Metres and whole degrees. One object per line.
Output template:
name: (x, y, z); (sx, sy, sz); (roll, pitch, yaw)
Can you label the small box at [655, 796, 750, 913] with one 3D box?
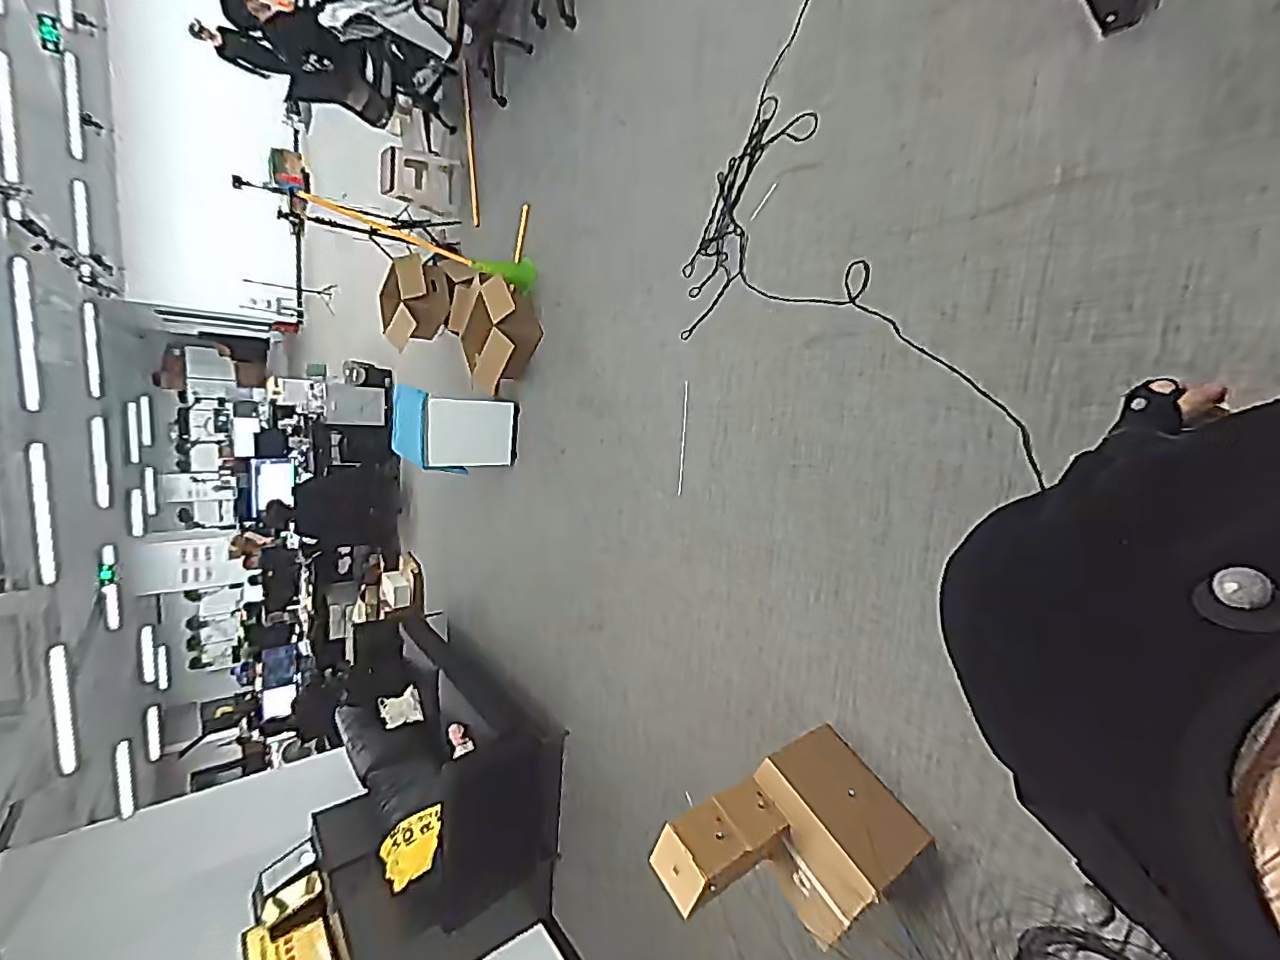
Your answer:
small box: (0.172, 1.008, 1.467); (0.168, 0.176, 0.179); (40, 122, 43)
